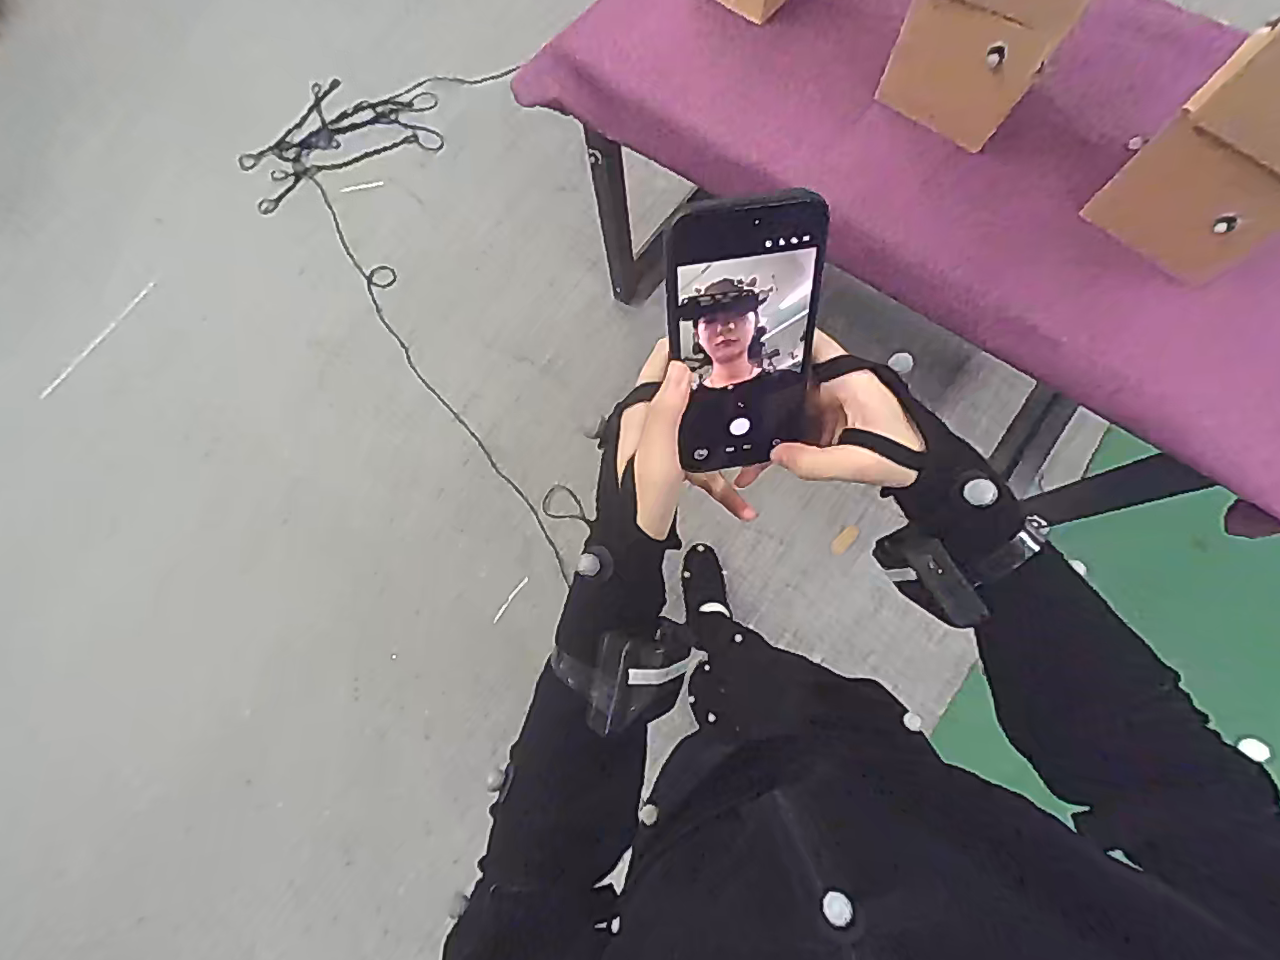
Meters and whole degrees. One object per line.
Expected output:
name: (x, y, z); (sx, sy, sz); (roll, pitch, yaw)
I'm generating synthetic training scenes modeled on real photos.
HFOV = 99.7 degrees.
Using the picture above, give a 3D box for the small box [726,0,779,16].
small box: (0.178, -0.863, 0.814); (0.168, 0.176, 0.179); (39, 81, 11)

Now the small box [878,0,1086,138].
small box: (0.466, -0.611, 0.733); (0.179, 0.176, 0.168); (38, 81, 11)

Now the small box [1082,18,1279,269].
small box: (0.720, -0.394, 0.666); (0.168, 0.176, 0.179); (-44, 77, -8)

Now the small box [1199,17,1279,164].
small box: (0.708, -0.417, 0.503); (0.168, 0.176, 0.179); (-44, 78, -8)
